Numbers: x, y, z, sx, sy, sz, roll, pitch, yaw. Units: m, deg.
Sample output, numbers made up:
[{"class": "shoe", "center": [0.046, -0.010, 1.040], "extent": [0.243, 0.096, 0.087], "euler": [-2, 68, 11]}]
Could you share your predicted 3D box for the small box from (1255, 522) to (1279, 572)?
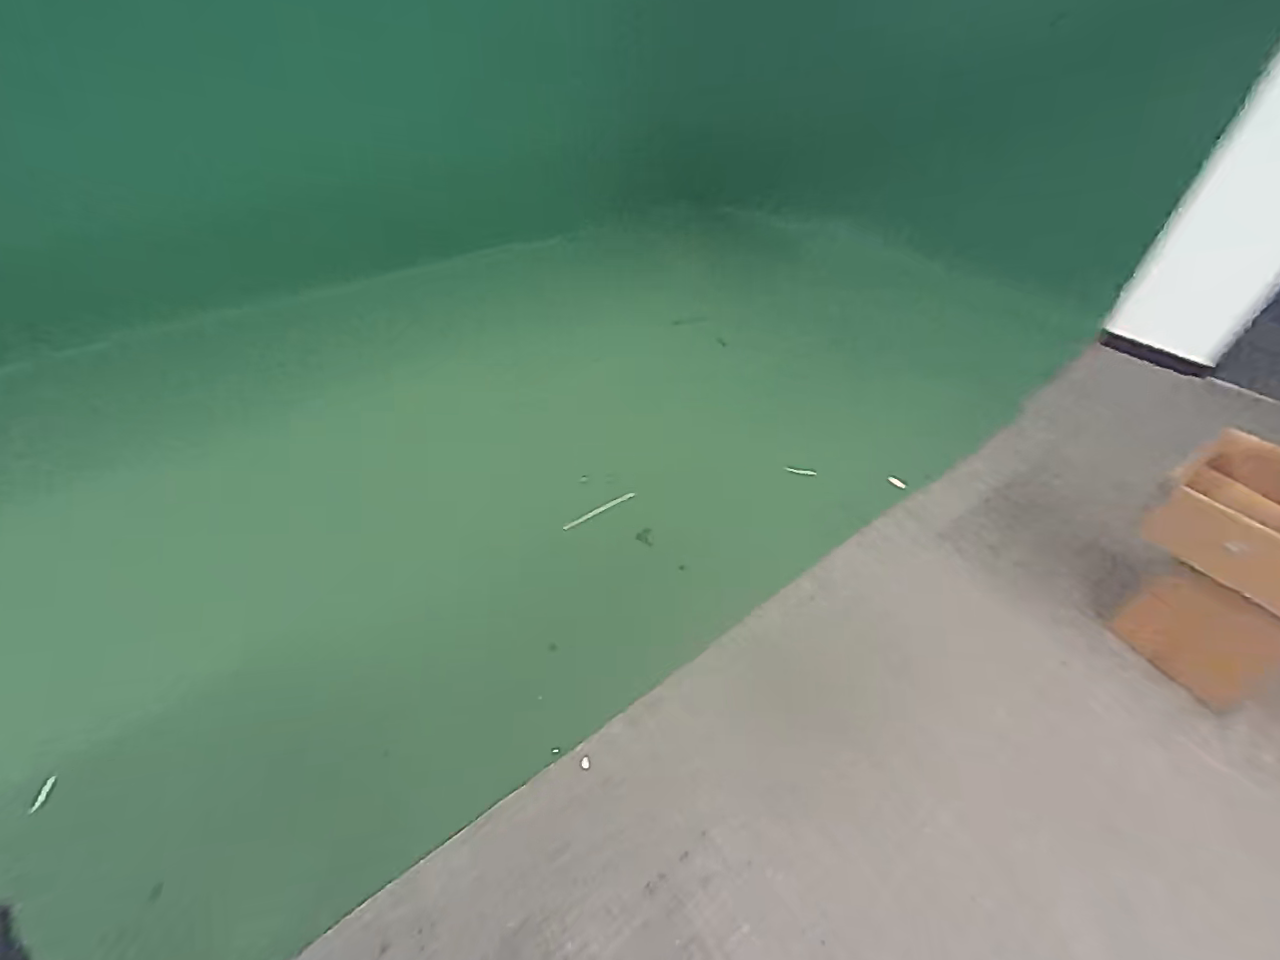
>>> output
[{"class": "small box", "center": [1.655, 0.155, 1.296], "extent": [0.179, 0.176, 0.168], "euler": [-26, 51, -28]}]
